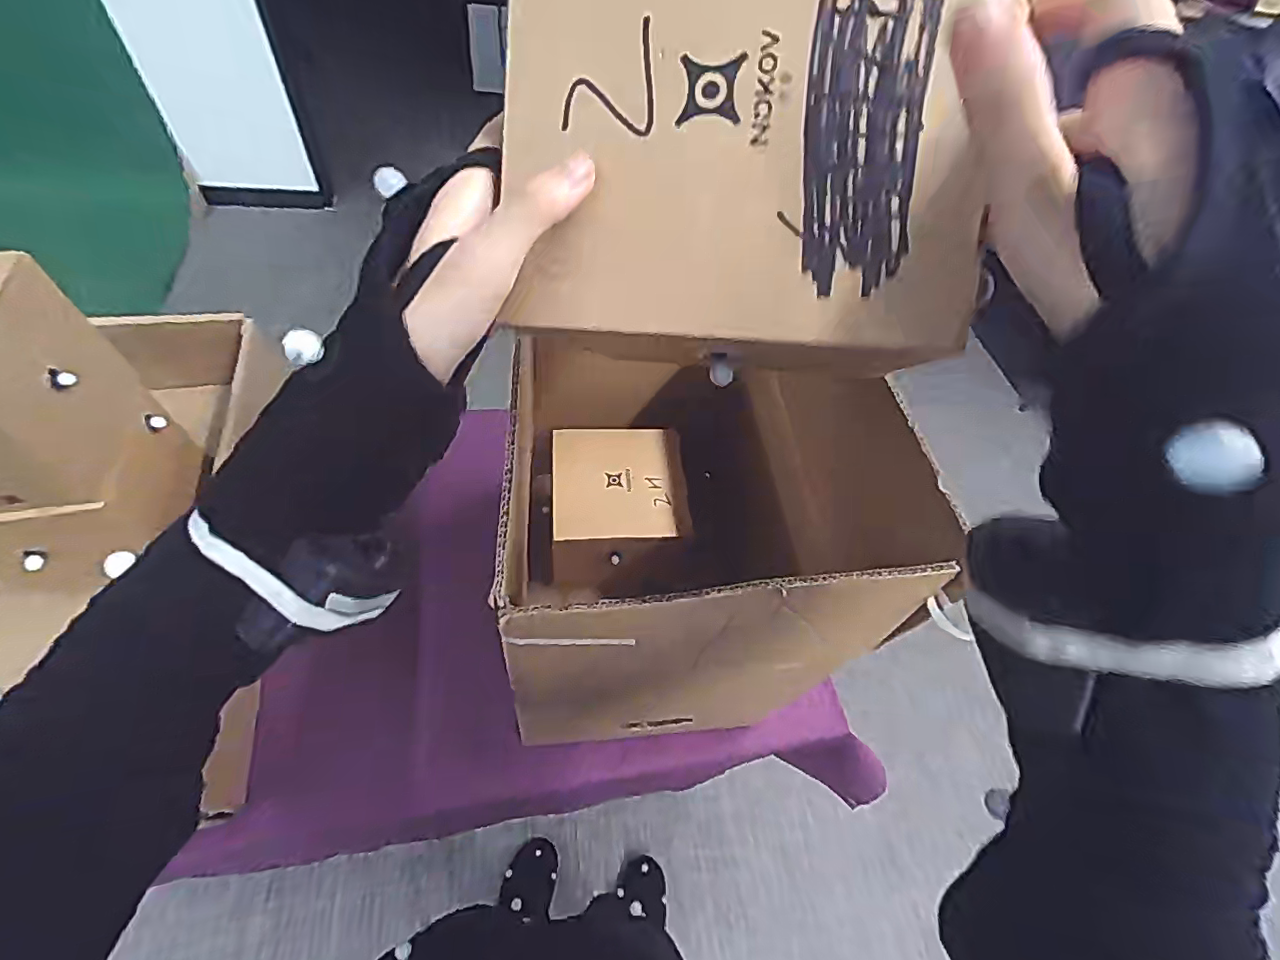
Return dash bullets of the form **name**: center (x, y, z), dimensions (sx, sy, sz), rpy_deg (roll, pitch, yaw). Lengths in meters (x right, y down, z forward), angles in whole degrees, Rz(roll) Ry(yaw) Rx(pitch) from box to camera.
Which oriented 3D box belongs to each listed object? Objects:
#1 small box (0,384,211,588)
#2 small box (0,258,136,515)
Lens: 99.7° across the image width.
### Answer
- **small box**: center (-0.650, 0.015, 0.639), dimensions (0.168, 0.176, 0.179), rpy_deg (-9, 59, -14)
- **small box**: center (-0.631, -0.081, 0.507), dimensions (0.168, 0.176, 0.179), rpy_deg (-8, 60, -13)
